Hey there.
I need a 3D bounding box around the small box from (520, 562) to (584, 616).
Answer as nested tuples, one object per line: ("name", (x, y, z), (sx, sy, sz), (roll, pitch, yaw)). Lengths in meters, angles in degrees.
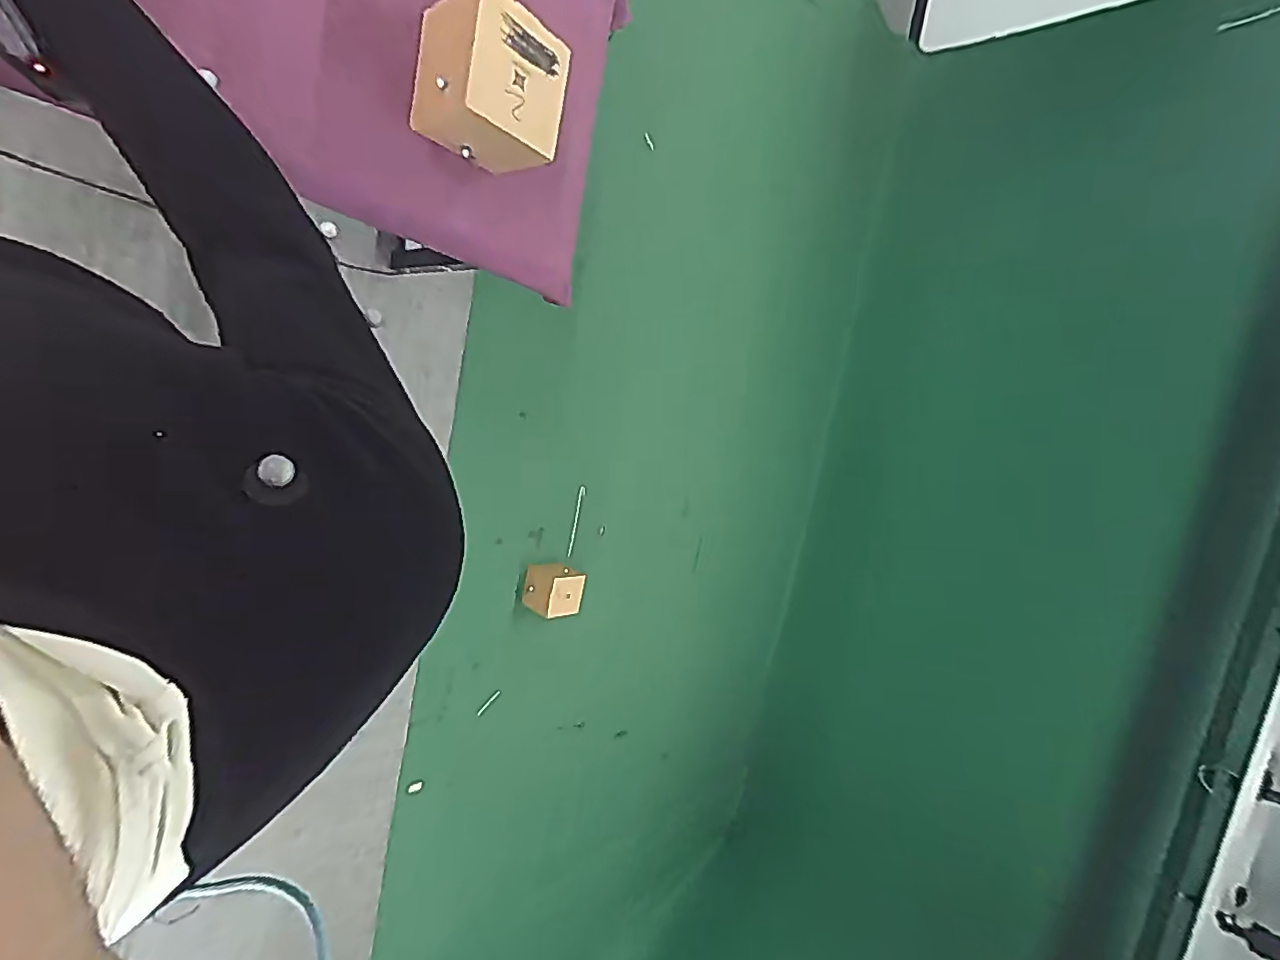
("small box", (-0.365, 0.444, 2.235), (0.179, 0.176, 0.168), (6, 98, -51))
